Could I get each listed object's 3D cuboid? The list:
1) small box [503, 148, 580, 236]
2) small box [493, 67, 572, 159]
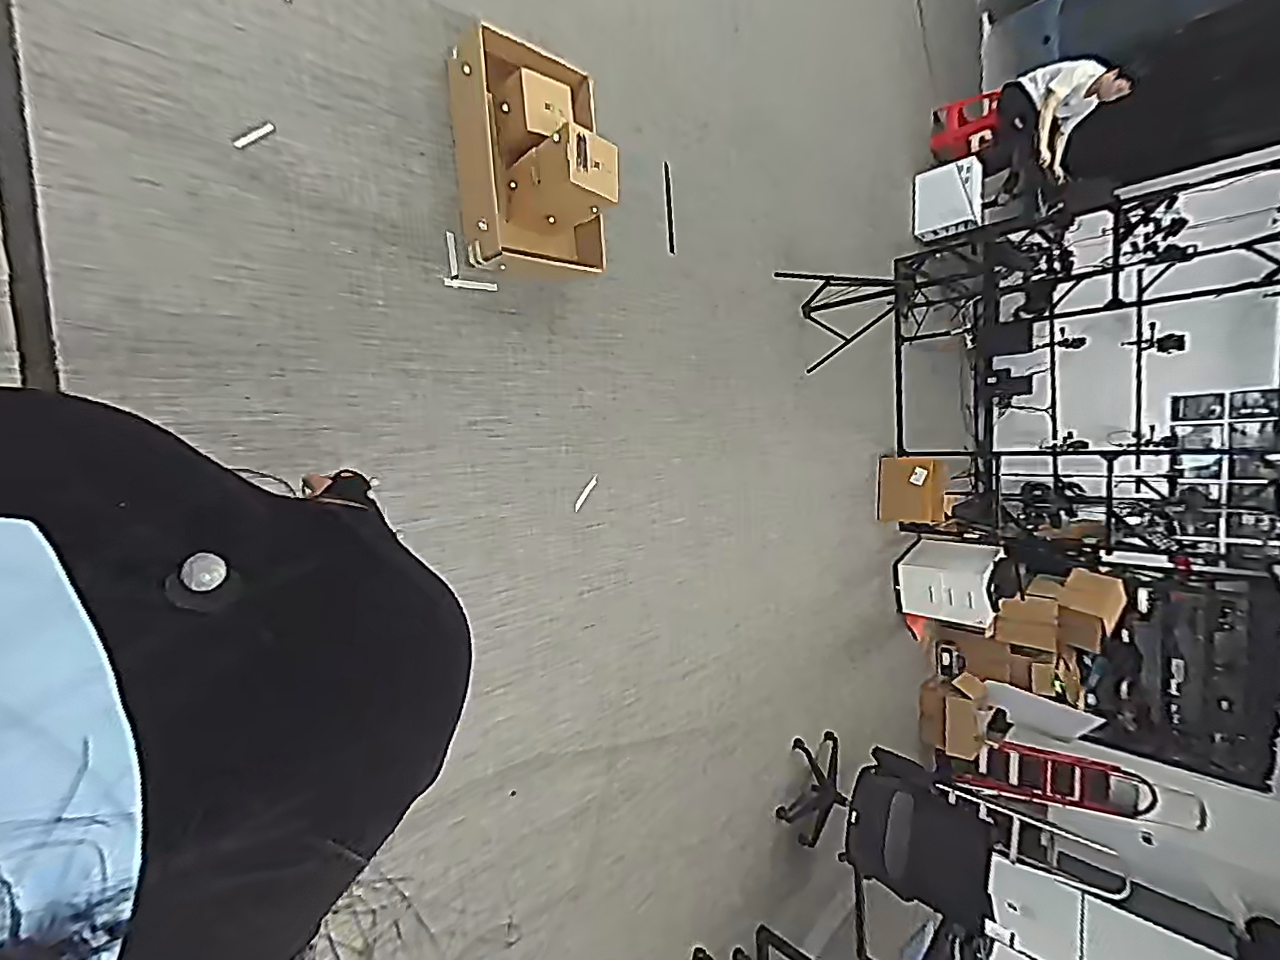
[{"bbox_3d":[-0.306,-0.879,1.673,0.179,0.176,0.168,-3,92,-44],"label":"small box"},{"bbox_3d":[-0.330,-1.090,1.634,0.179,0.176,0.168,-11,101,-44],"label":"small box"}]
